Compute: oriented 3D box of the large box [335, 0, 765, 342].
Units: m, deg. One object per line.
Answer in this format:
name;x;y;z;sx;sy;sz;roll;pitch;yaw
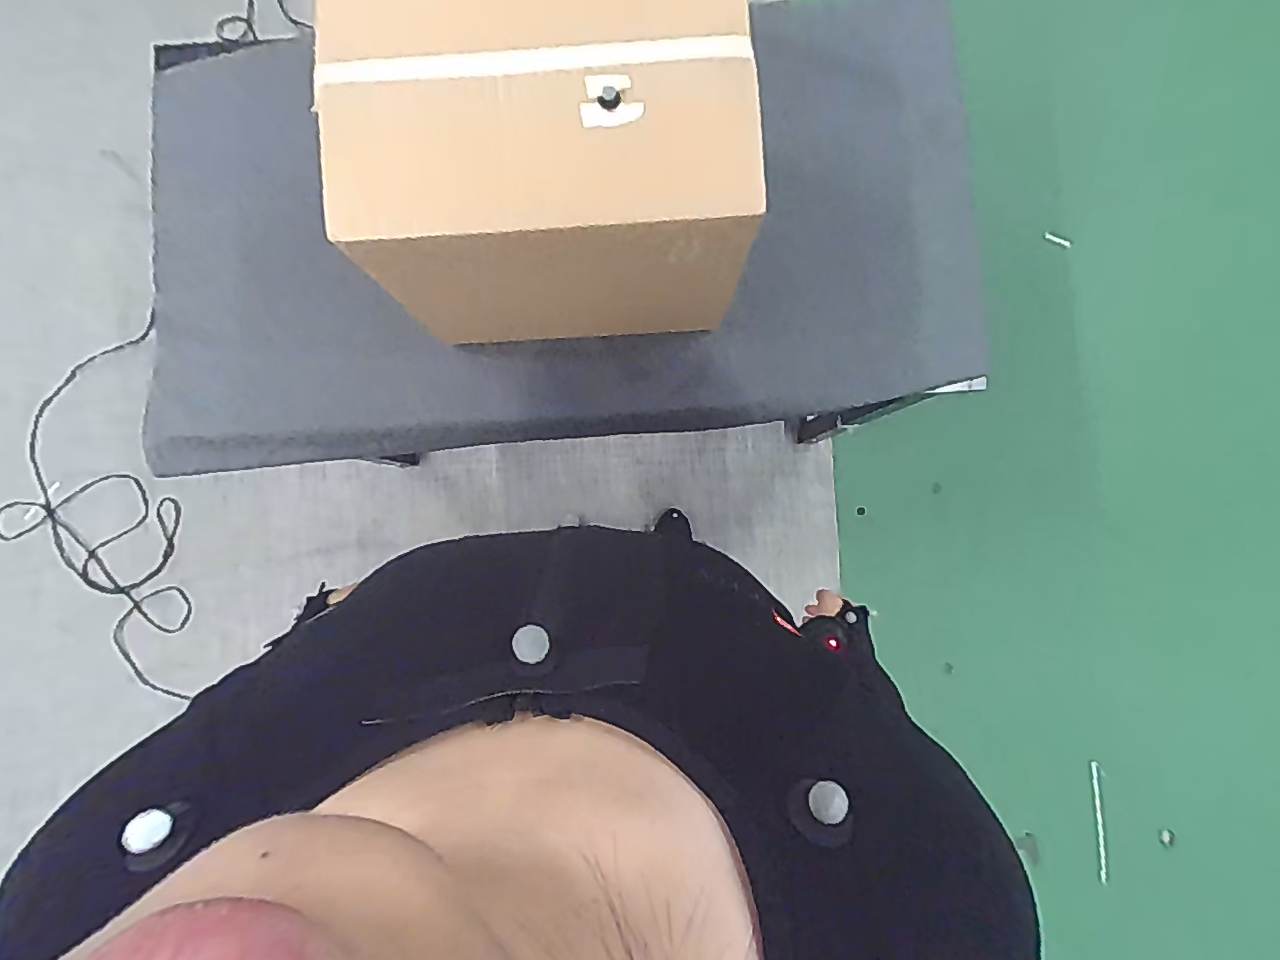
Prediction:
large box;-0.093;-0.380;0.666;0.408;0.320;0.320;-4;87;-1
